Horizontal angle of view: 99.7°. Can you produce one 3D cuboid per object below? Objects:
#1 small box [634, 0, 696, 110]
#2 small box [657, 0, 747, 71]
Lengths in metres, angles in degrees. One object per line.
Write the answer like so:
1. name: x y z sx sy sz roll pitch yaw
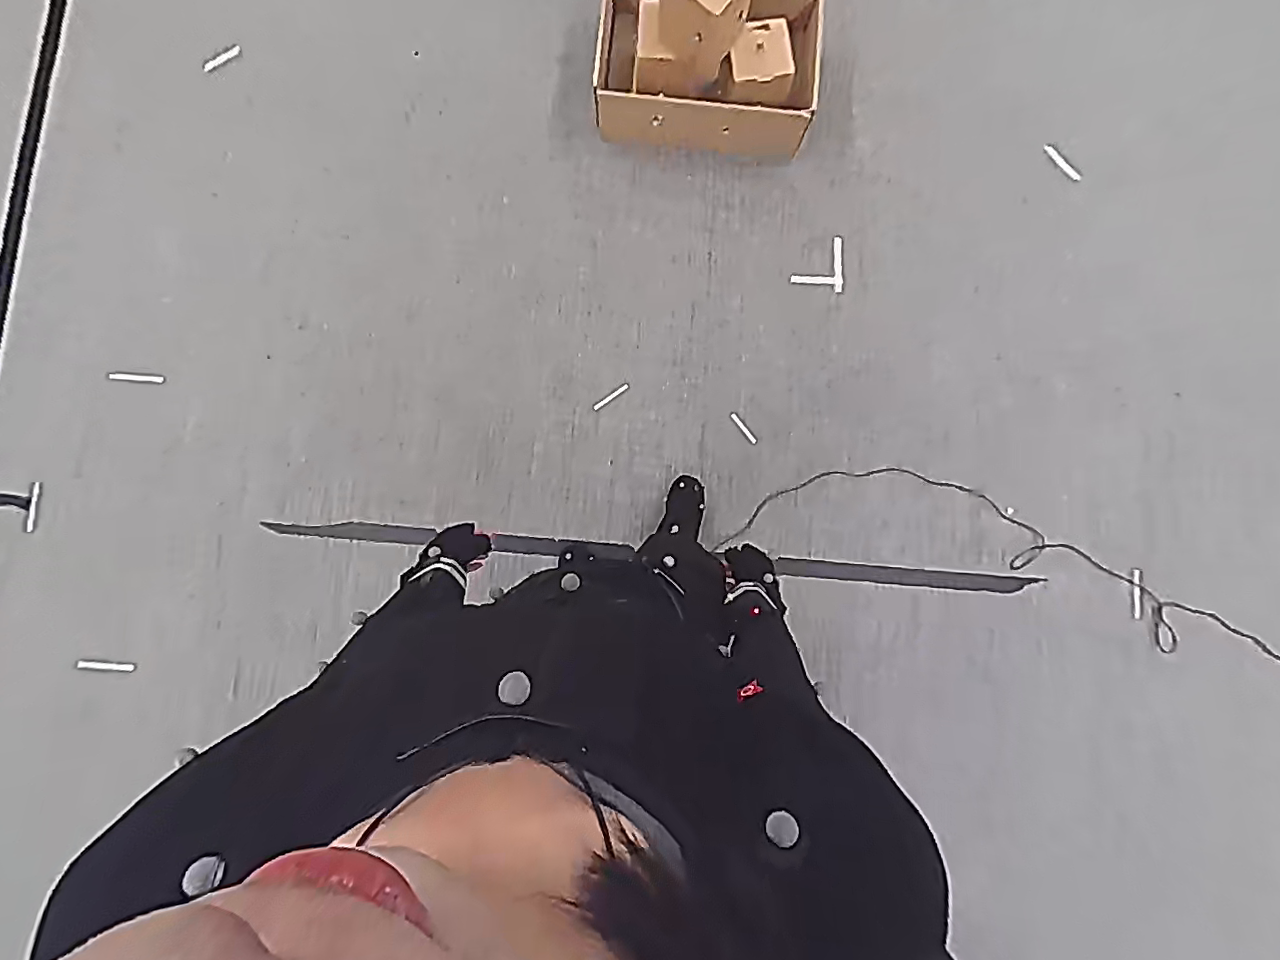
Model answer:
1. small box: 0.072 -1.204 1.541 0.168 0.176 0.179 3 84 -3
2. small box: 0.162 -1.202 1.381 0.179 0.176 0.168 37 82 4
